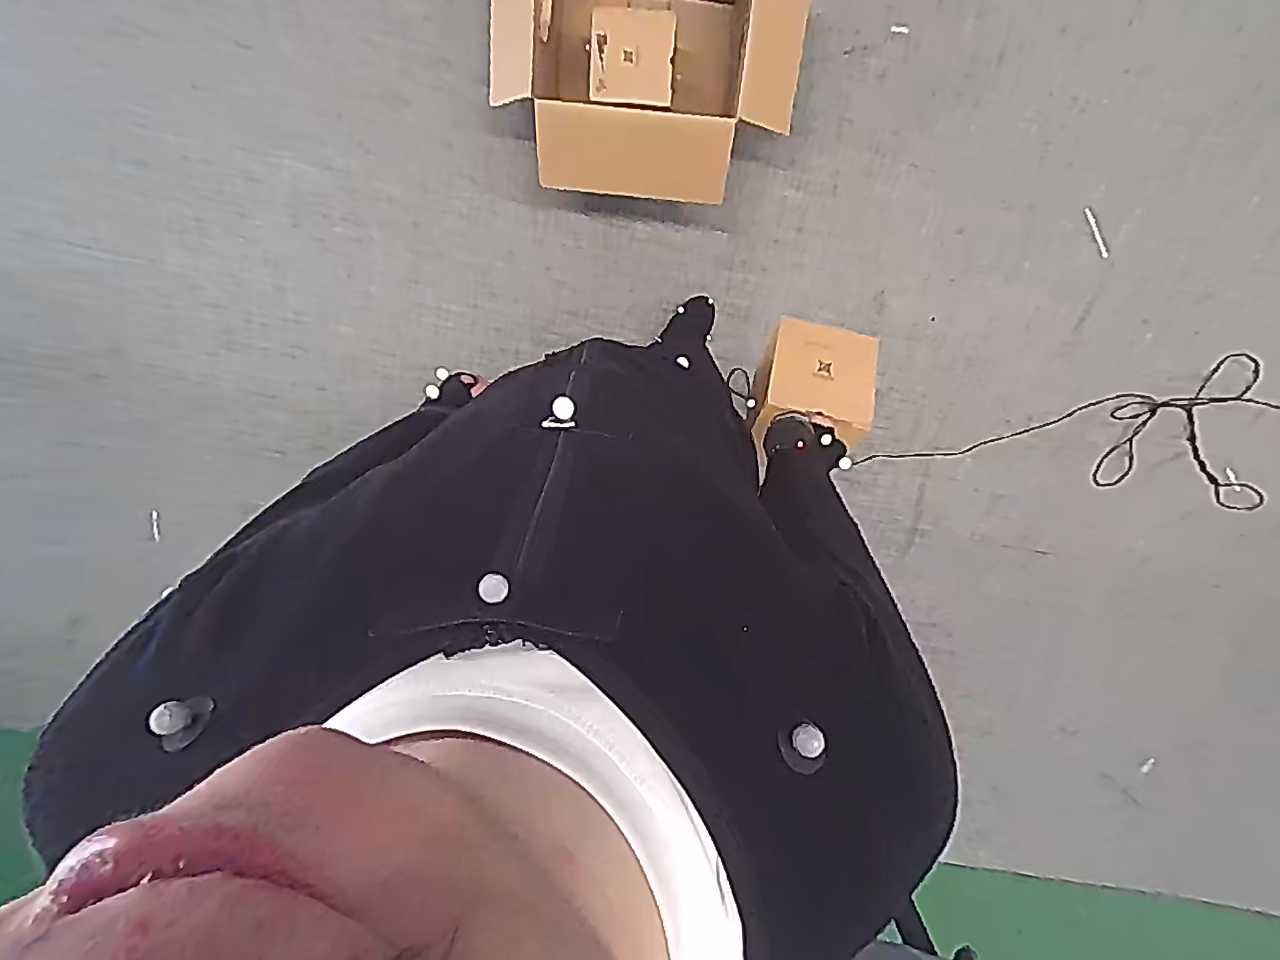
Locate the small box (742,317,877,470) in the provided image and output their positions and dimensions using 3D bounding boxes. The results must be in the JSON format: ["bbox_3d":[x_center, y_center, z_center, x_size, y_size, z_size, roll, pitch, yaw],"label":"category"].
[{"bbox_3d":[0.279,-0.138,0.915,0.168,0.176,0.179,14,64,0],"label":"small box"}]
